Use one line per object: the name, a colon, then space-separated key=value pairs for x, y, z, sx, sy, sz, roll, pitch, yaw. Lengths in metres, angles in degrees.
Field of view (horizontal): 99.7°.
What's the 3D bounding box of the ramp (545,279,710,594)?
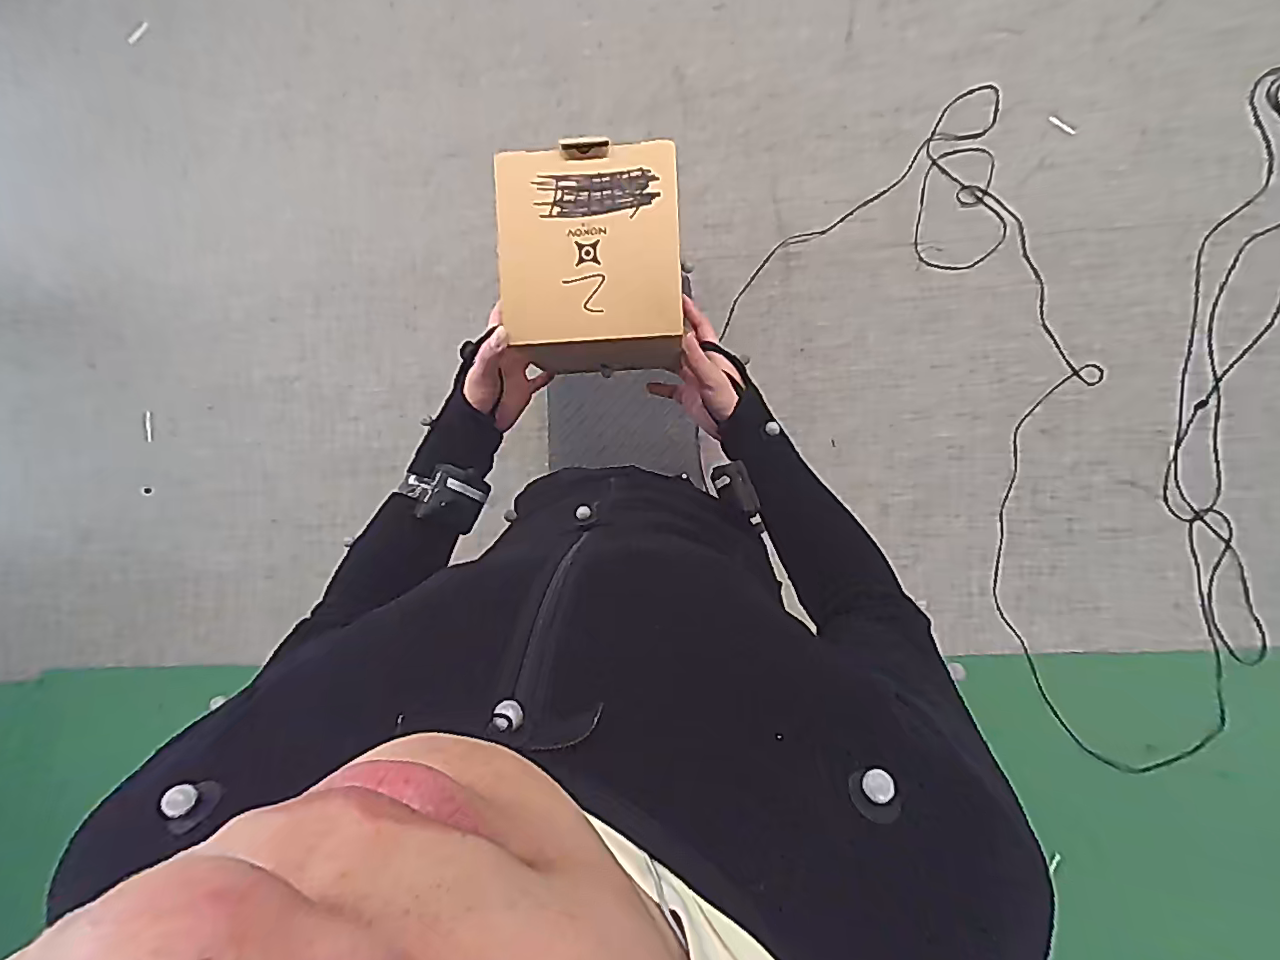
ramp: x=-0.058 y=-0.155 z=1.717 sx=0.509 sy=0.206 sz=0.991 roll=-5 pitch=90 yaw=6
